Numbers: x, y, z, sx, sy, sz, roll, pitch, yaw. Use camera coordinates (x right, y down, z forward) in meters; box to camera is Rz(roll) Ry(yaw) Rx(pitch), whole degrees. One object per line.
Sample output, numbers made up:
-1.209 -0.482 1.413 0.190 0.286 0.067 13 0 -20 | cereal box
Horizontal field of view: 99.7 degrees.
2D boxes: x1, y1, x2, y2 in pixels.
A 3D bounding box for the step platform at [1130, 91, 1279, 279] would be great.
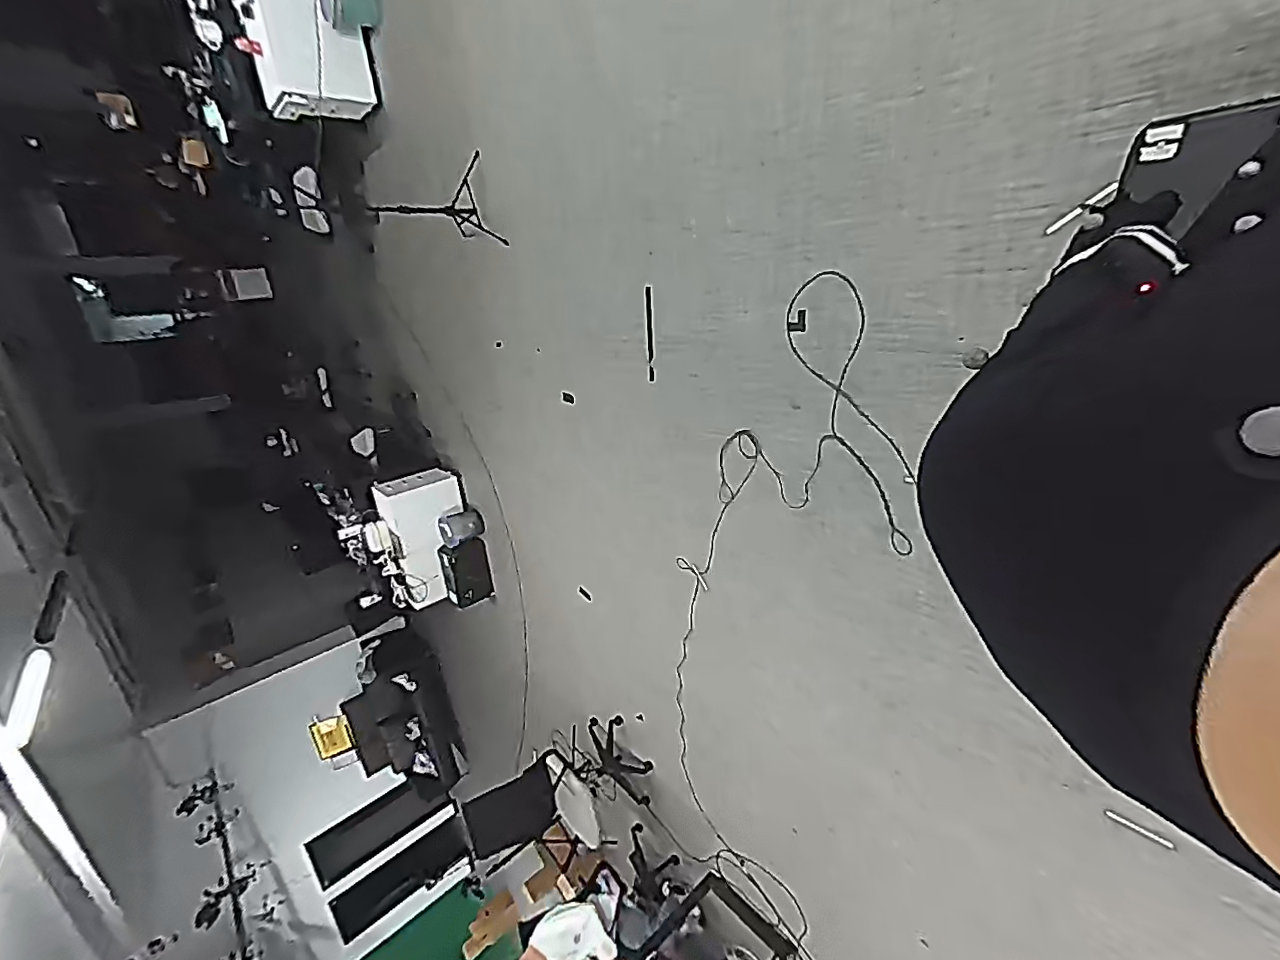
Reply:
1.211 -0.481 0.826 0.684 0.204 0.286 15 119 45 | step platform
